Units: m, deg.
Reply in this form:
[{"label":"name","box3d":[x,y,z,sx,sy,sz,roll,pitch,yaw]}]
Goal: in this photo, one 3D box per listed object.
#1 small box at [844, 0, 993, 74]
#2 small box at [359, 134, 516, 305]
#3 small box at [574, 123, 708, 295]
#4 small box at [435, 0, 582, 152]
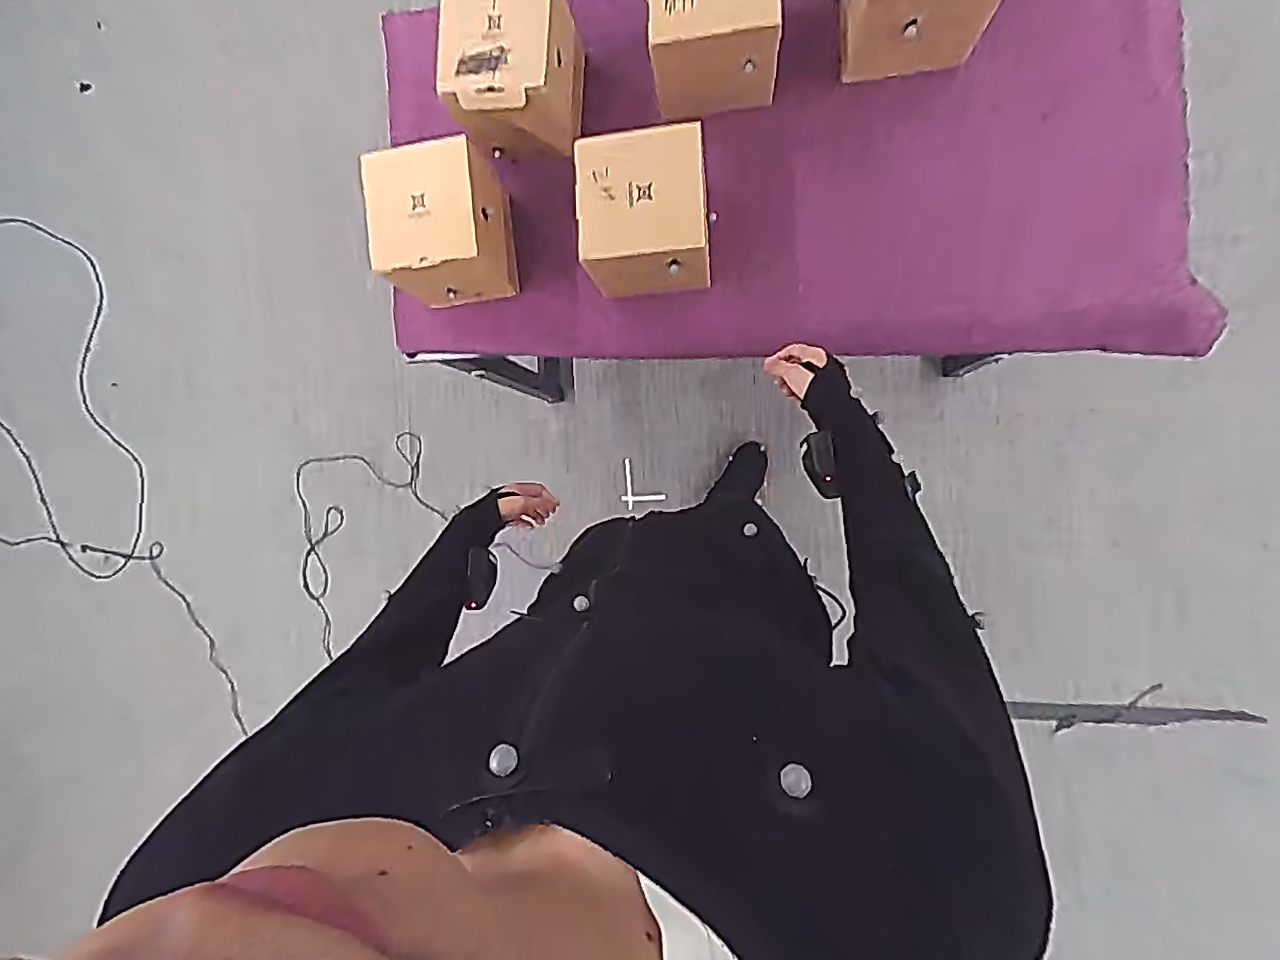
[{"label":"small box","box3d":[0.377,-0.690,0.727,0.179,0.176,0.168,-2,93,11]},{"label":"small box","box3d":[-0.307,-0.395,0.849,0.168,0.176,0.179,-6,91,8]},{"label":"small box","box3d":[0.011,-0.385,0.797,0.179,0.176,0.168,-2,91,10]},{"label":"small box","box3d":[-0.191,-0.629,0.826,0.168,0.176,0.179,4,92,9]}]
